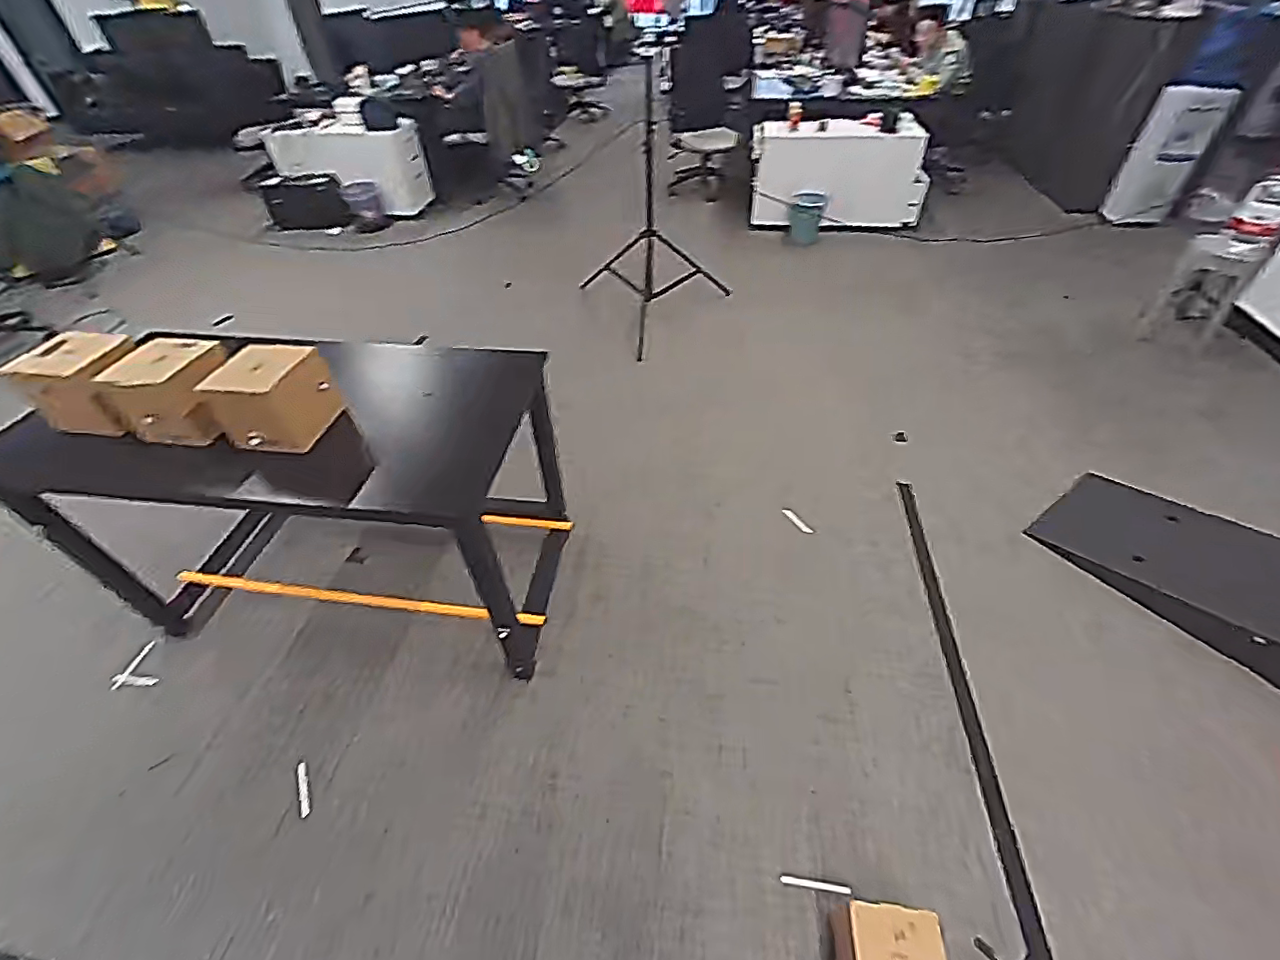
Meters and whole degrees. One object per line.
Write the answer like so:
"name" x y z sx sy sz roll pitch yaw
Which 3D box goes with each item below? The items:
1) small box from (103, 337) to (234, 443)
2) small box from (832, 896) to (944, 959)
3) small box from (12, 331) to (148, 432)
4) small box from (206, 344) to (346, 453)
"small box" -1.030 -0.203 1.233 0.168 0.176 0.179 6 45 6
"small box" 0.483 0.945 1.056 0.168 0.176 0.179 4 45 6
"small box" -1.259 -0.230 1.266 0.179 0.176 0.168 6 46 6
"small box" -0.794 -0.183 1.208 0.168 0.176 0.179 3 46 7
